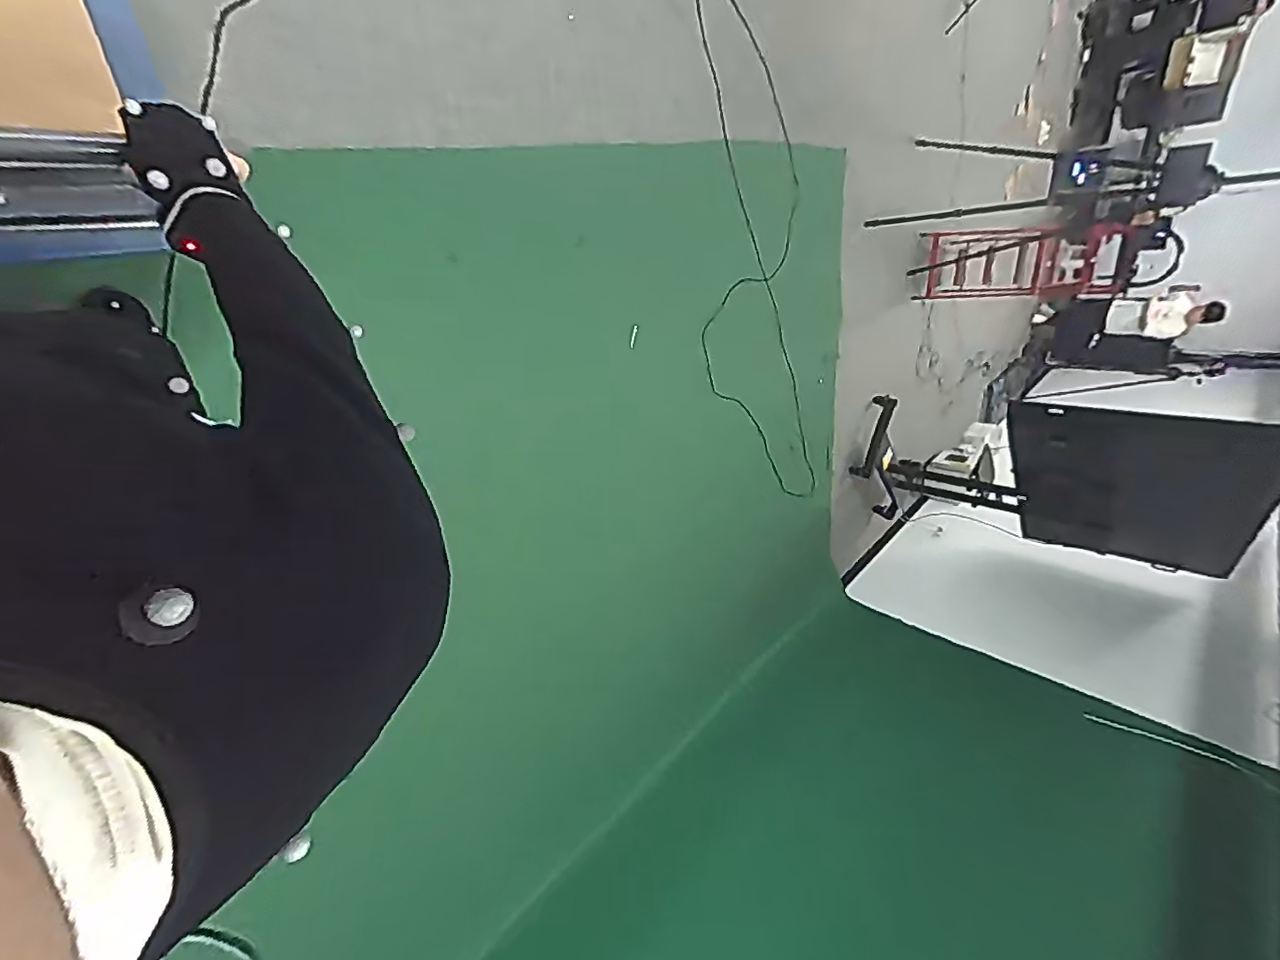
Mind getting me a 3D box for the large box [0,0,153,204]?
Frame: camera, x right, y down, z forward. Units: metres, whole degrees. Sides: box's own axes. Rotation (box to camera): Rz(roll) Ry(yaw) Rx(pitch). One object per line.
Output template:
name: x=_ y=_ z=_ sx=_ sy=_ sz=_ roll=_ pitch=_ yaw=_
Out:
large box: x=-0.966 y=-0.625 z=0.750 sx=0.320 sy=0.320 sz=0.408 roll=-26 pitch=120 yaw=-39
